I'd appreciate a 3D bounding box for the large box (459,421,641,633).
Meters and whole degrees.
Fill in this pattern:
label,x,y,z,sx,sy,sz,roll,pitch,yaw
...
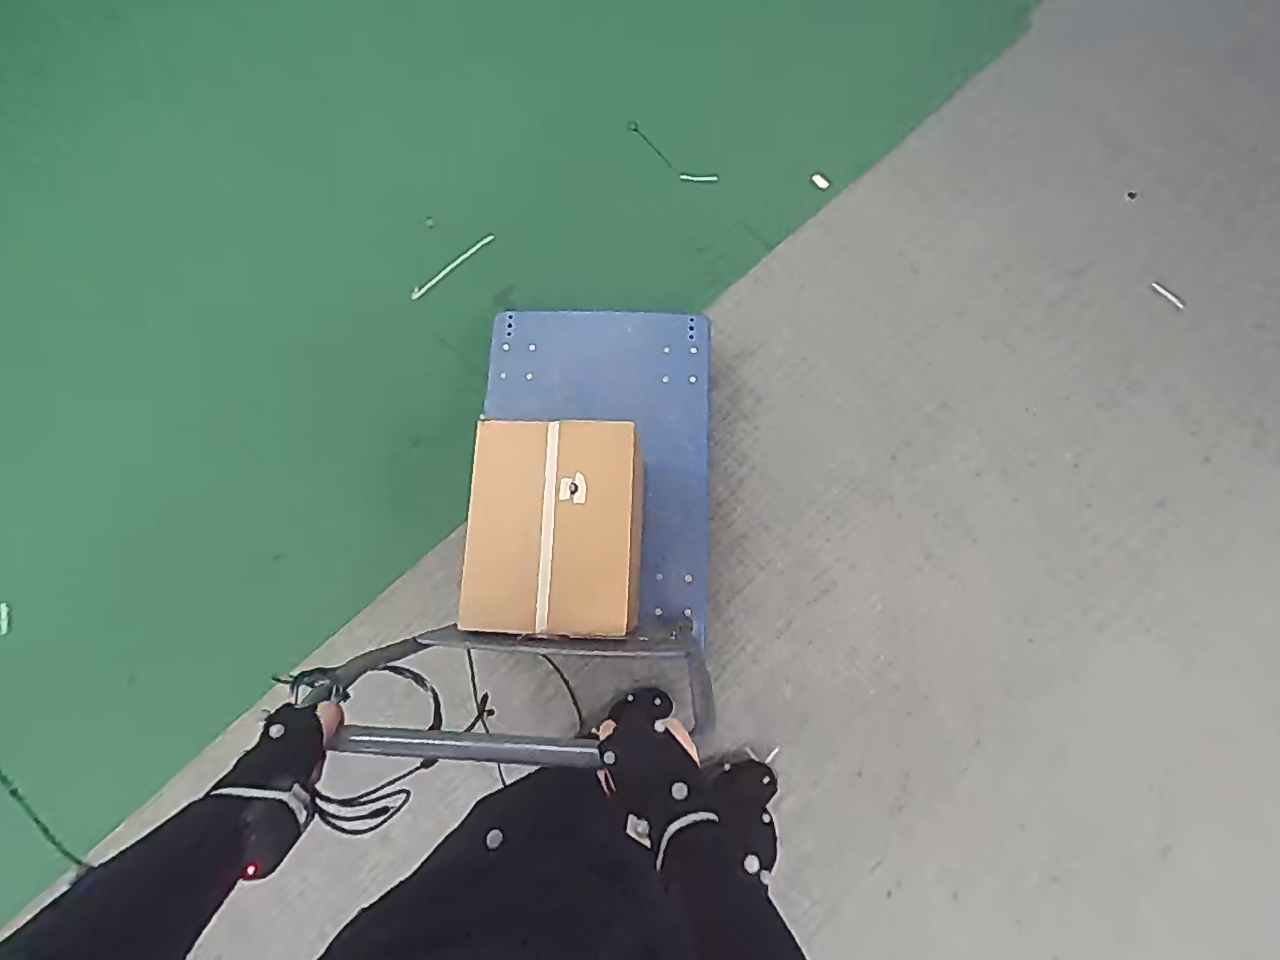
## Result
label,x,y,z,sx,sy,sz,roll,pitch,yaw
large box,-0.165,0.111,1.166,0.320,0.320,0.408,2,78,3
